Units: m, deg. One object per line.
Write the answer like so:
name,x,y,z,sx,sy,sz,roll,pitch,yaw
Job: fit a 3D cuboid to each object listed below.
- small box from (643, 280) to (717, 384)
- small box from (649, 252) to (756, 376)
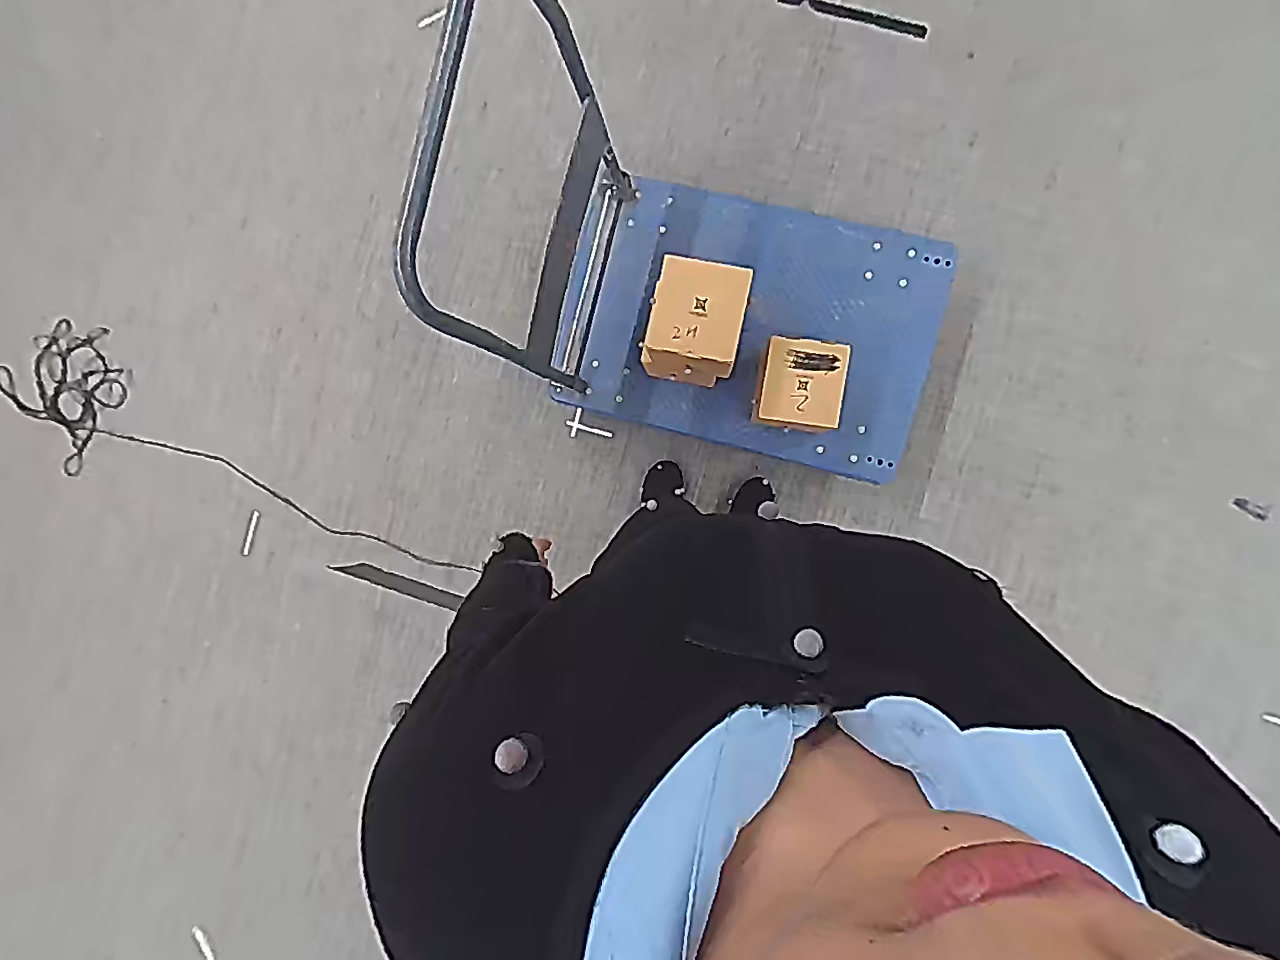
small box,0.109,-0.327,1.223,0.168,0.176,0.179,12,93,5
small box,0.118,-0.315,1.057,0.168,0.176,0.179,12,94,5
